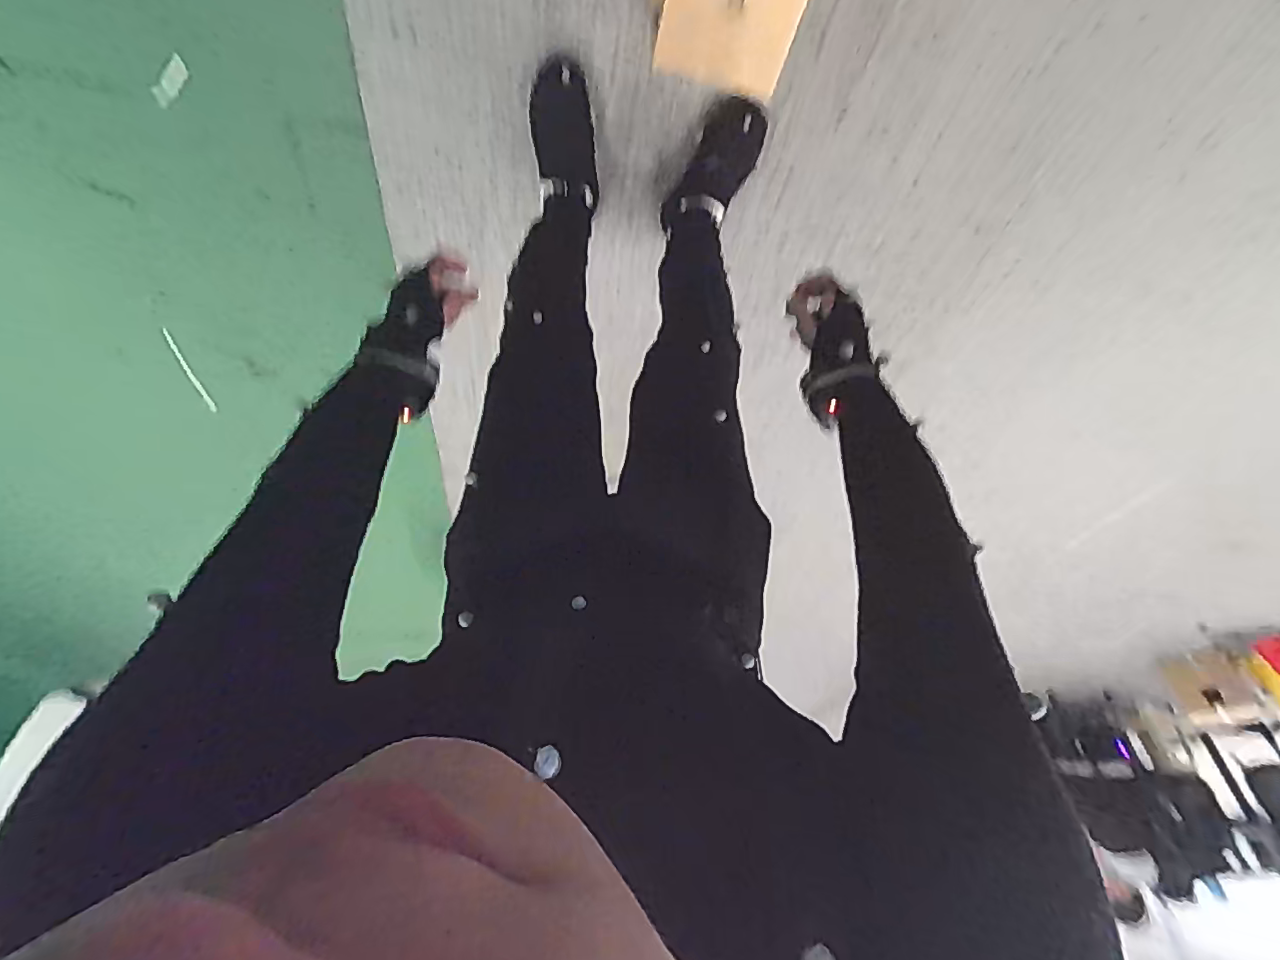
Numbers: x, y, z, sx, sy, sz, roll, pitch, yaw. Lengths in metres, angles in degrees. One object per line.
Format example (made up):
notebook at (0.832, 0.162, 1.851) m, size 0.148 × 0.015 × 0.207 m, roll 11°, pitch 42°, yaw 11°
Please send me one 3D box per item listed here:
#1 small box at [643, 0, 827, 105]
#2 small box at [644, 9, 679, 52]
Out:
small box at (0.110, -0.640, 0.688) m, size 0.168 × 0.176 × 0.179 m, roll -28°, pitch 133°, yaw 35°
small box at (0.109, -0.750, 0.796) m, size 0.168 × 0.176 × 0.179 m, roll 10°, pitch 141°, yaw -12°
